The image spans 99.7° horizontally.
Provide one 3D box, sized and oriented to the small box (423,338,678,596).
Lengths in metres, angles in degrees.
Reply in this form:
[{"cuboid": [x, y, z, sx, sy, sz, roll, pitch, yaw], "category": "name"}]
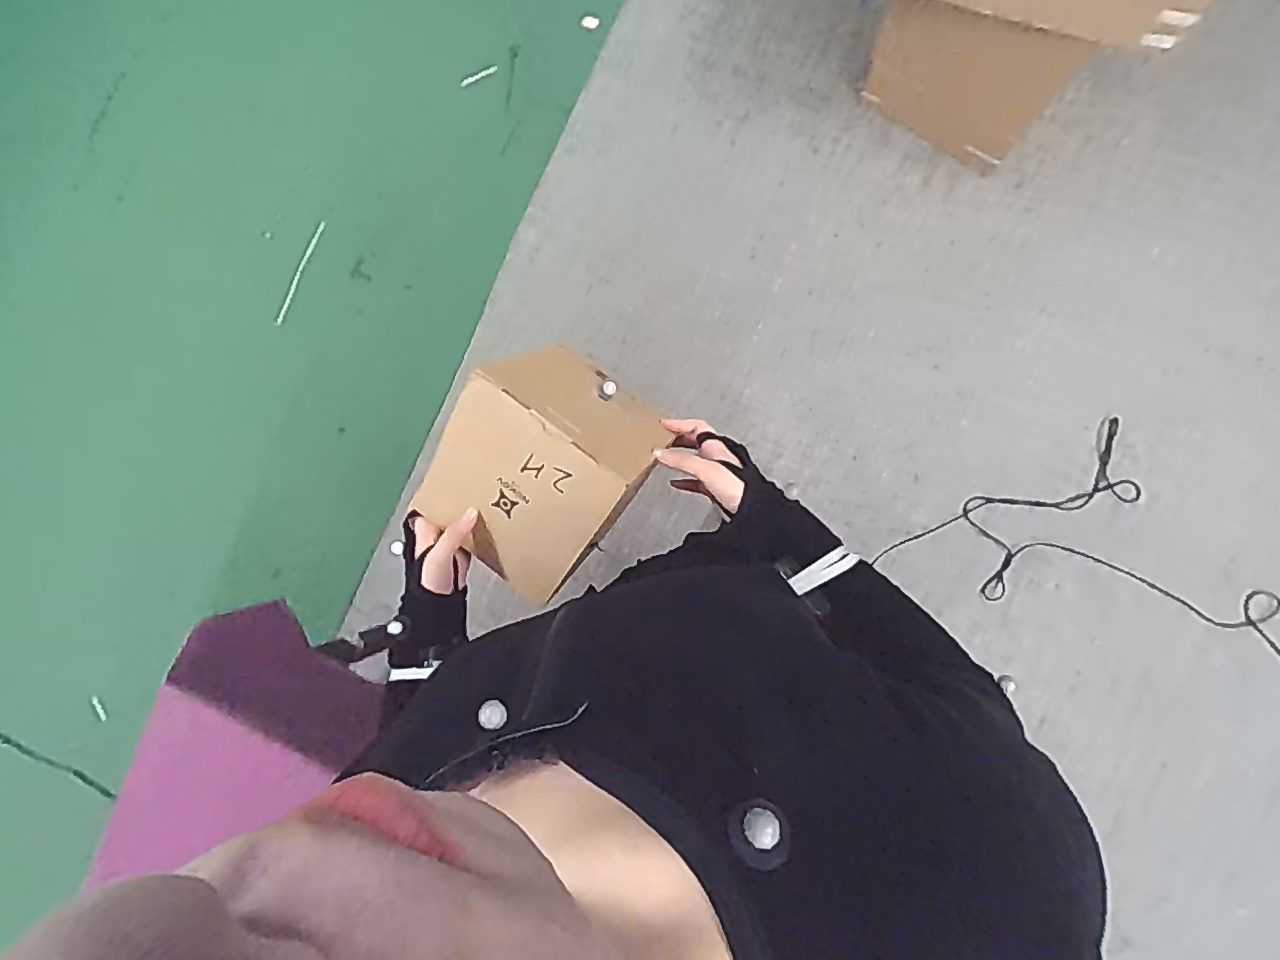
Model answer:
[{"cuboid": [-0.083, -0.022, 0.563, 0.168, 0.176, 0.179, 39, 120, 1], "category": "small box"}]
